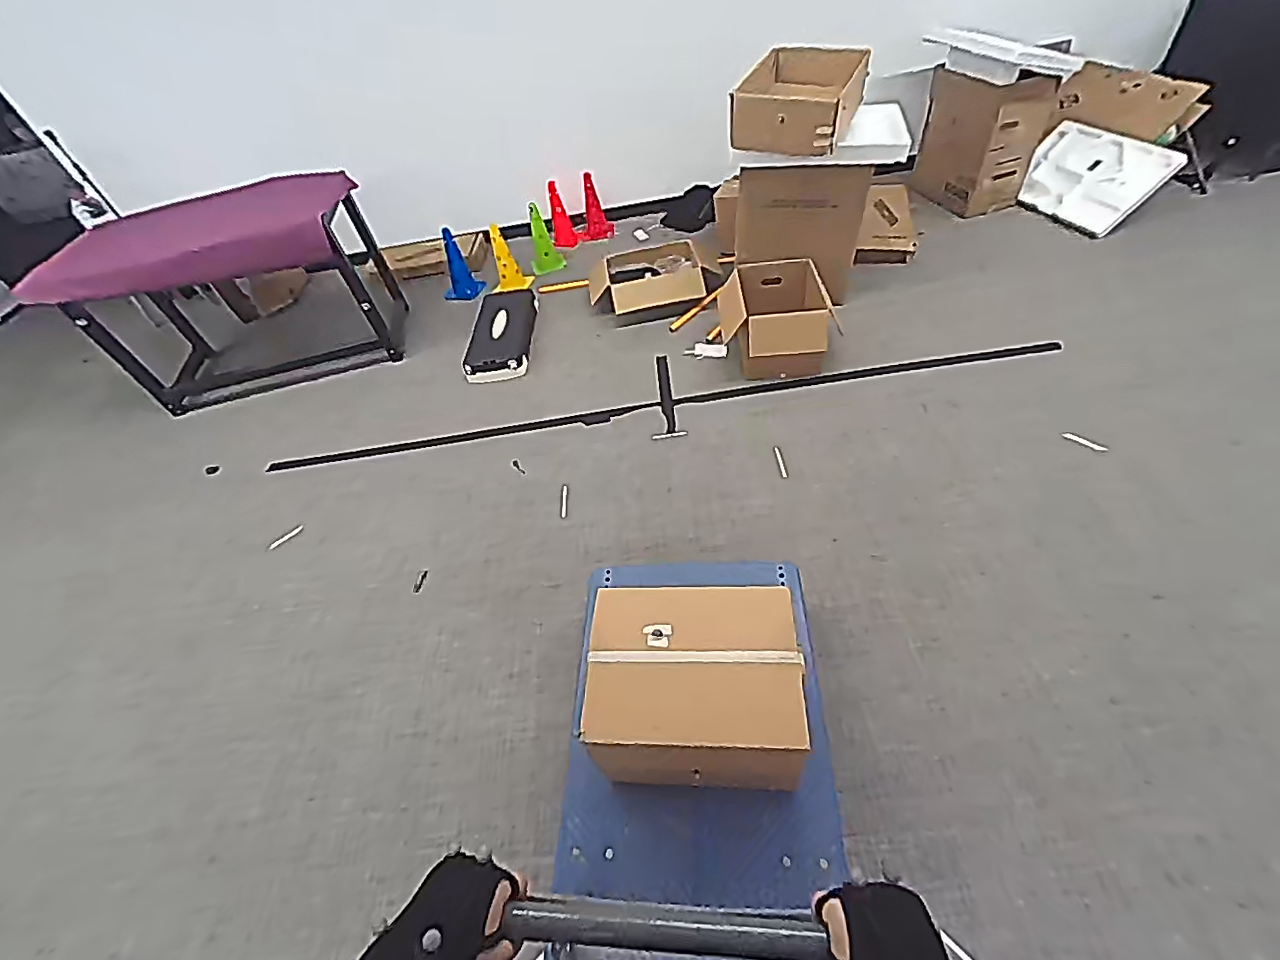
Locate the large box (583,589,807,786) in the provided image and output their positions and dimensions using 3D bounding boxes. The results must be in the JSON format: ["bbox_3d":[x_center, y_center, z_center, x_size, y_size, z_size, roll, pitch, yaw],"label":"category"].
[{"bbox_3d":[0.121,0.453,1.160,0.408,0.320,0.320,-4,47,9],"label":"large box"}]
